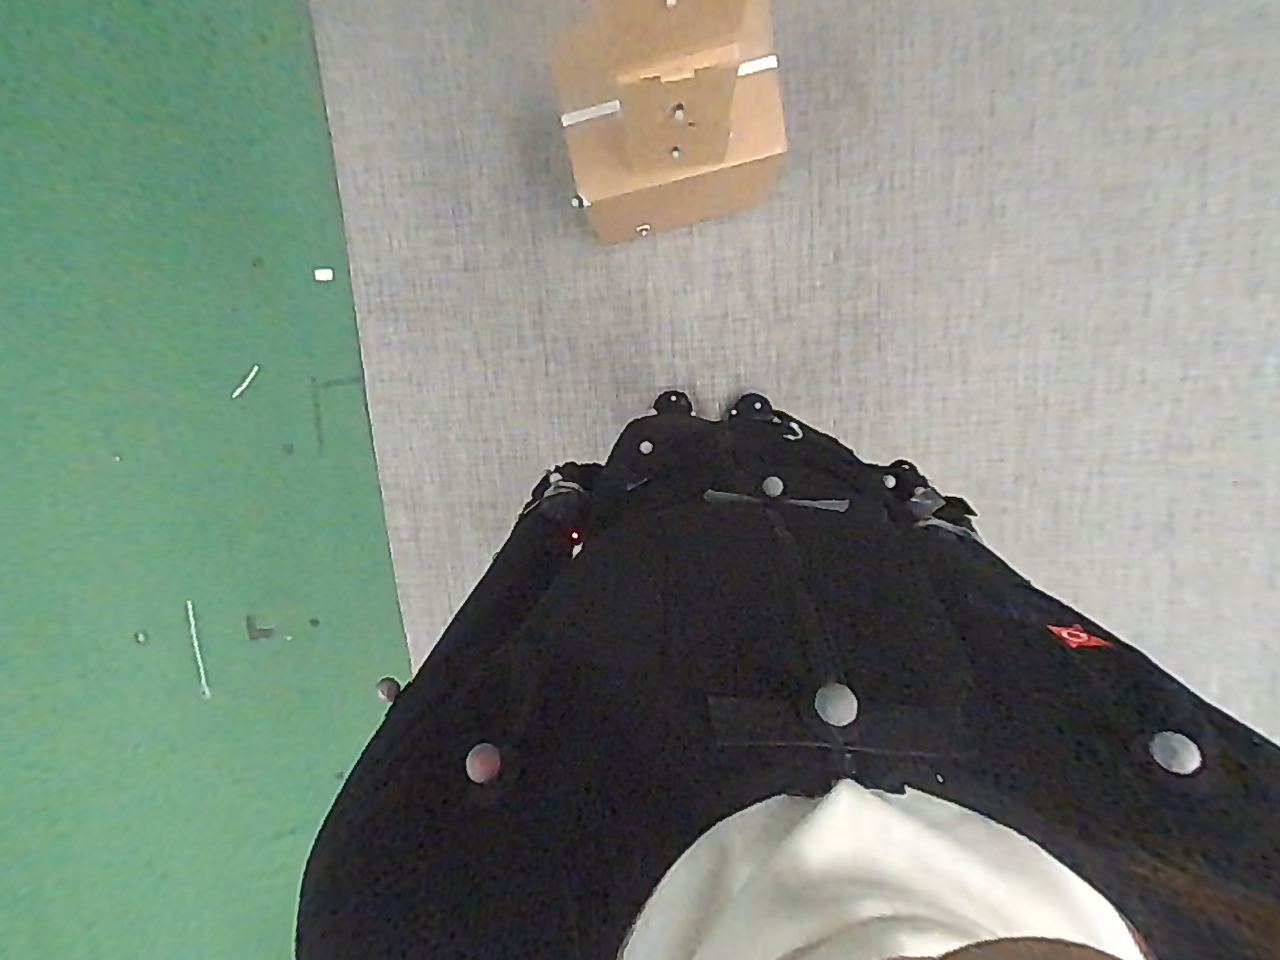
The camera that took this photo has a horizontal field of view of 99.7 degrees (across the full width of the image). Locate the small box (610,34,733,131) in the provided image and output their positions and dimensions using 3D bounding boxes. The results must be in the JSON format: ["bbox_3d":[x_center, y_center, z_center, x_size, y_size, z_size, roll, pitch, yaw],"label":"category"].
[{"bbox_3d":[0.042,-0.635,0.782,0.168,0.176,0.179,-5,100,6],"label":"small box"}]

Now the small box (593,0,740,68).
[{"bbox_3d":[0.021,-0.620,0.620,0.179,0.176,0.168,-11,100,6],"label":"small box"}]

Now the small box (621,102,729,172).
[{"bbox_3d":[0.056,-0.662,0.942,0.179,0.176,0.168,-5,99,6],"label":"small box"}]
